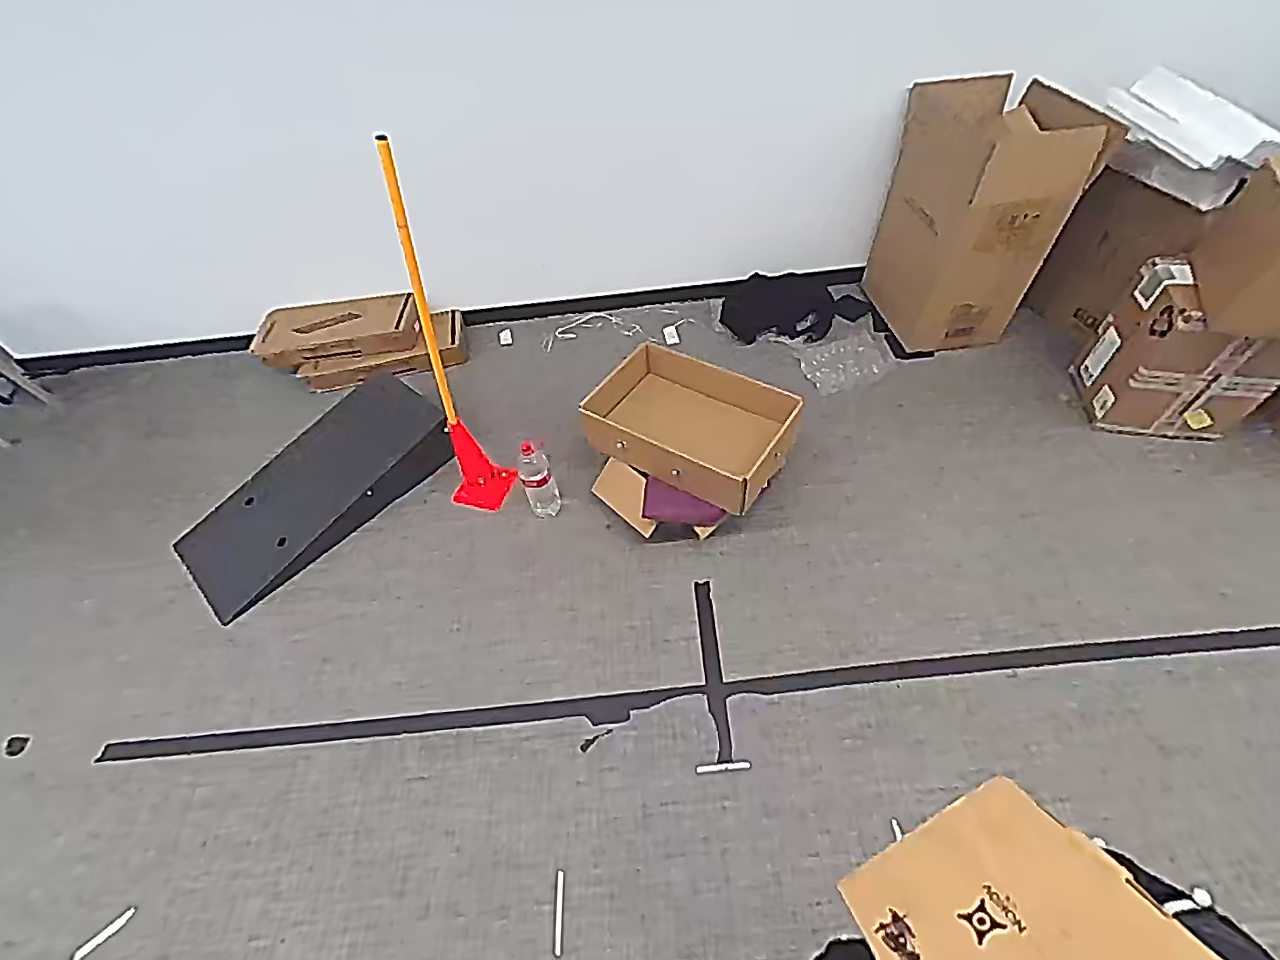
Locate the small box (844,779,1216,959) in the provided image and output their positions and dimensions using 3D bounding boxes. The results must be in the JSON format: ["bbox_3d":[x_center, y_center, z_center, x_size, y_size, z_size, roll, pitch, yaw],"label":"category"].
[{"bbox_3d":[0.297,0.384,0.407,0.179,0.176,0.168,-31,9,-2],"label":"small box"}]
